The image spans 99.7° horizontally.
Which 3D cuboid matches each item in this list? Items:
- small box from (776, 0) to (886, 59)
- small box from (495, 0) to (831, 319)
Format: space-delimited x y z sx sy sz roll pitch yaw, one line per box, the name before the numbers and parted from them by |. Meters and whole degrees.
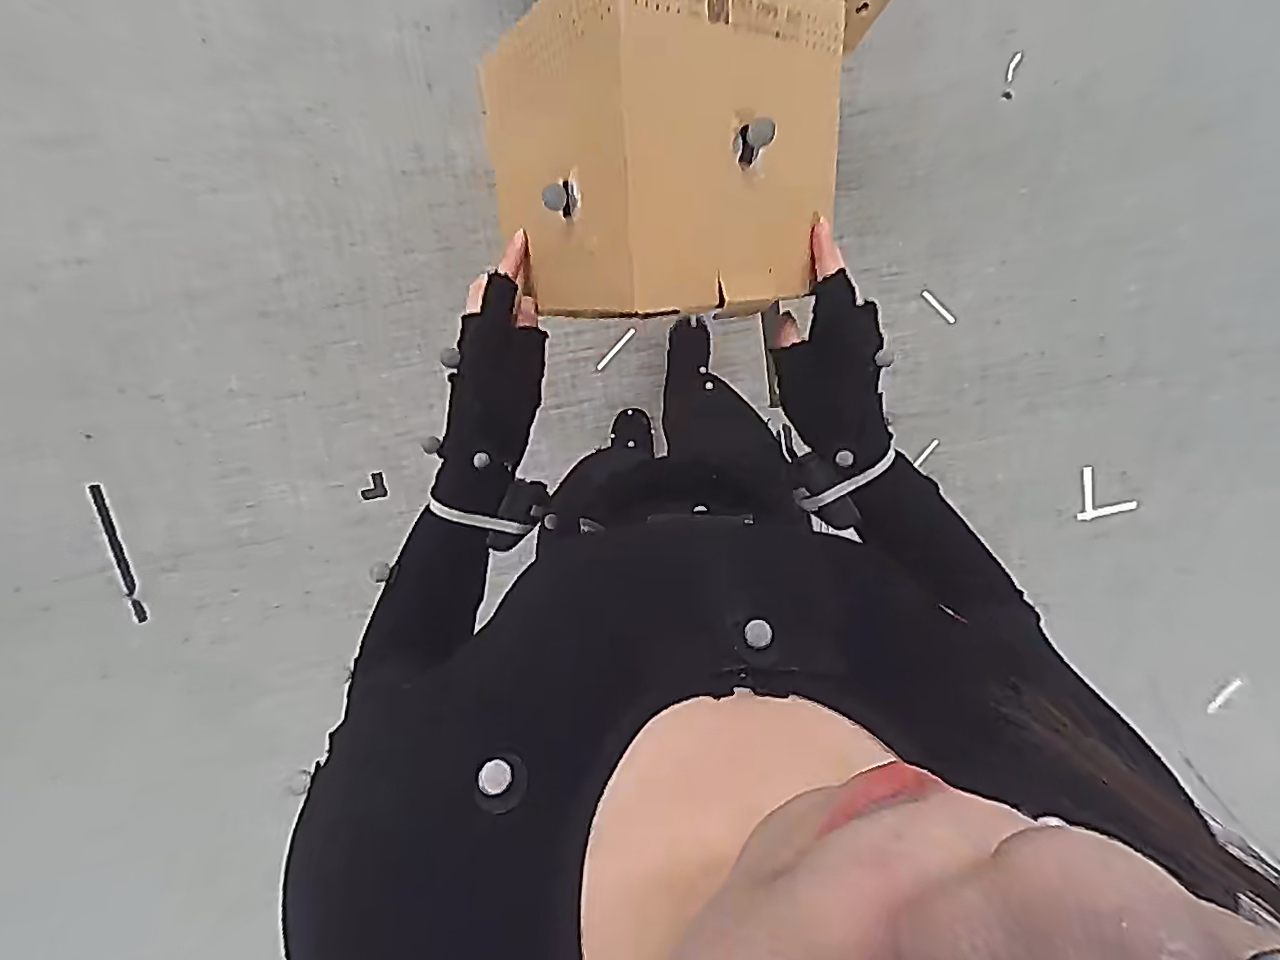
small box | 0.293 -0.827 0.888 0.179 0.176 0.168 -5 102 -3
small box | 0.012 -0.210 0.377 0.168 0.179 0.176 -17 113 -32
